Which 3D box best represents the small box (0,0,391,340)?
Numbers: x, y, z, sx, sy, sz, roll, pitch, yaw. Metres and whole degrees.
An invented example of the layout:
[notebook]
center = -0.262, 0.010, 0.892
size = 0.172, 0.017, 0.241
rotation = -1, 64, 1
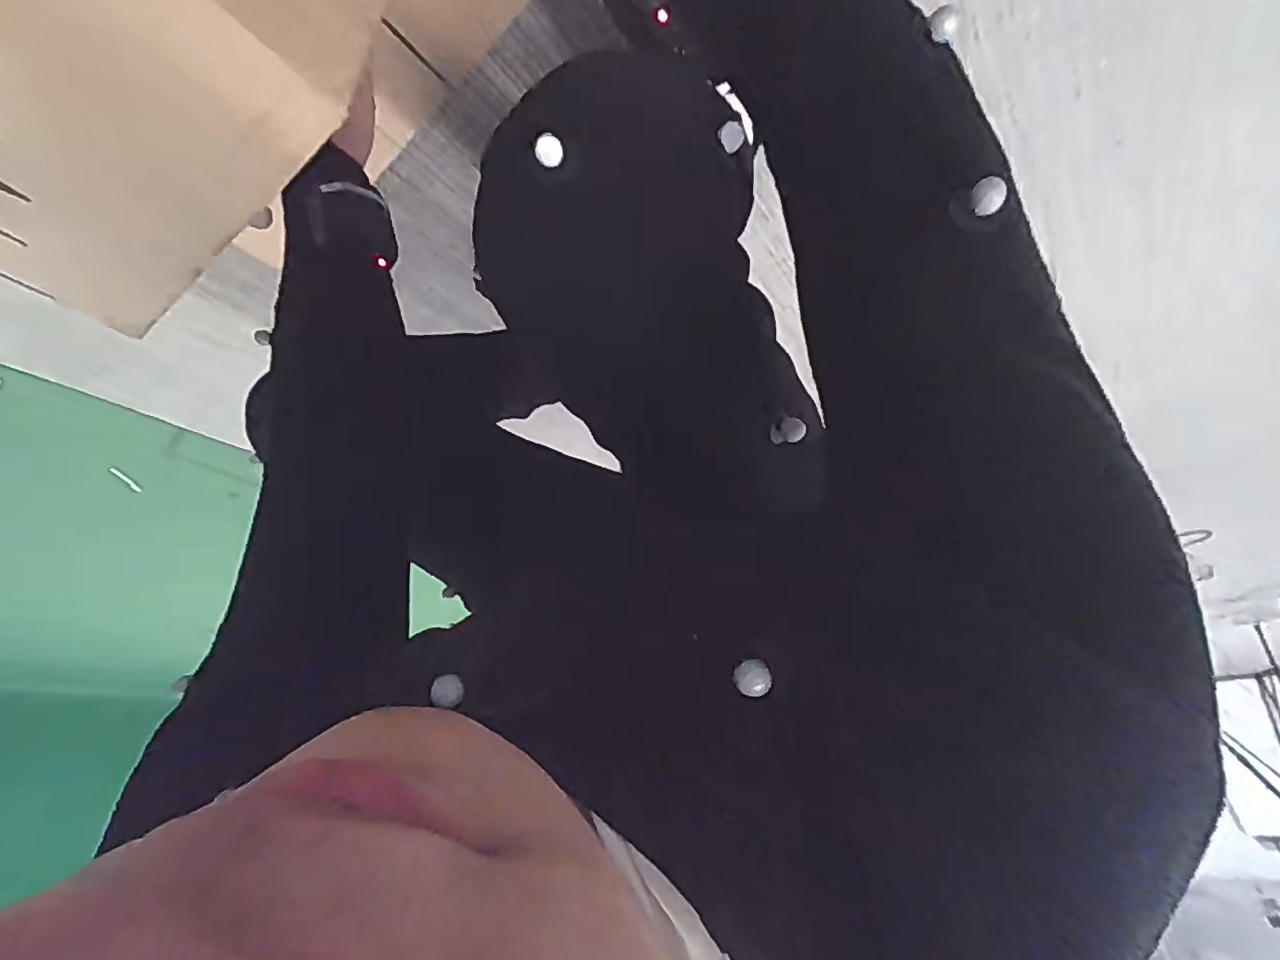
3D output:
[small box]
center = -0.216, -0.193, 0.204
size = 0.179, 0.176, 0.168
rotation = -20, 149, 27
